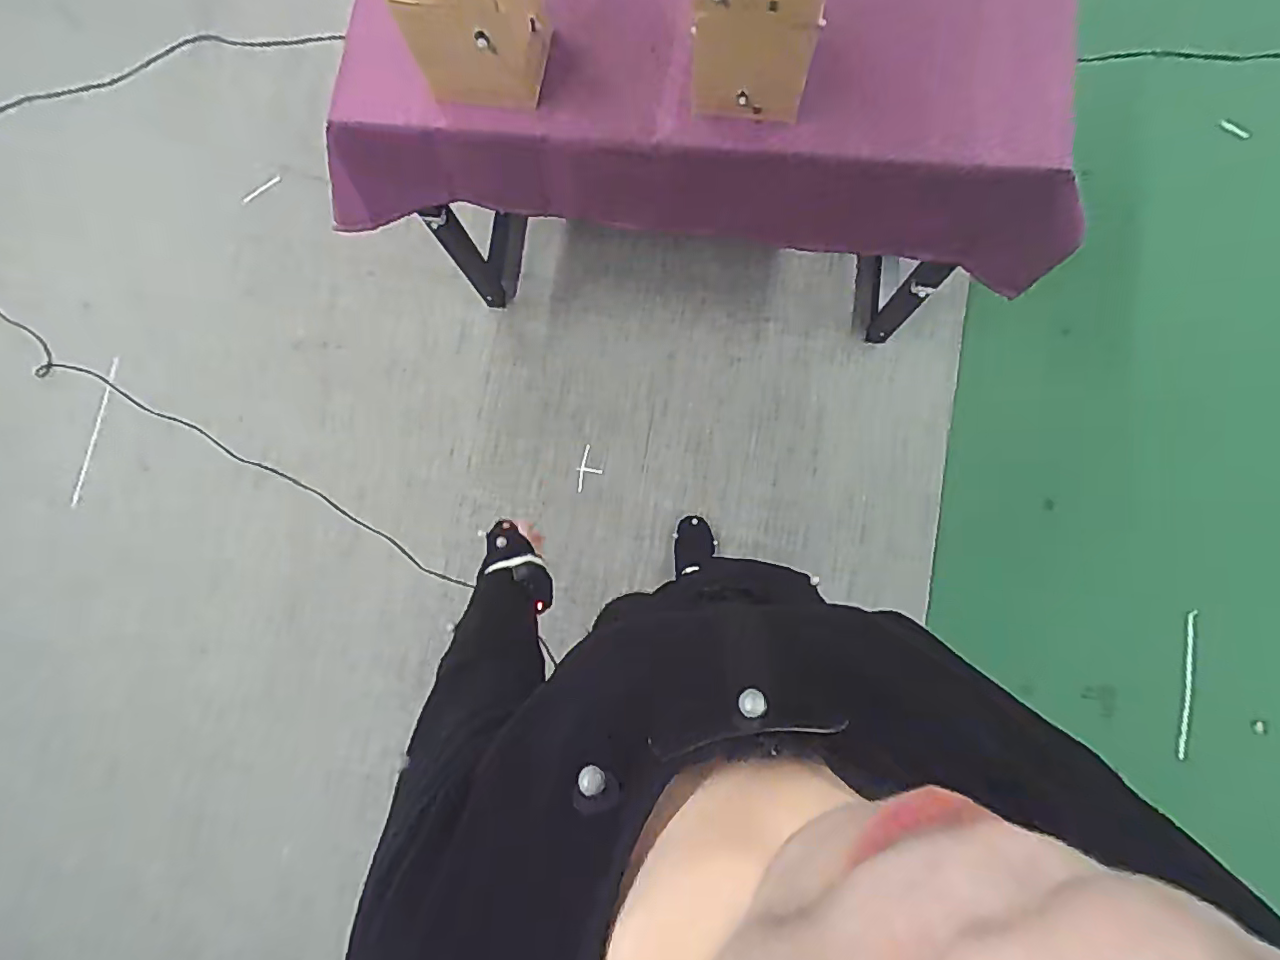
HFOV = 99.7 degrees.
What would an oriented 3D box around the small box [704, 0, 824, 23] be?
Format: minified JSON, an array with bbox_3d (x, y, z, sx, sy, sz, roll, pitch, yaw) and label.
[{"bbox_3d":[0.162,-0.695,0.640,0.168,0.176,0.179,12,82,6],"label":"small box"}]

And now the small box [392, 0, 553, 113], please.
[{"bbox_3d":[-0.246,-0.712,0.841,0.179,0.176,0.168,9,82,5],"label":"small box"}]

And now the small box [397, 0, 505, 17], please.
[{"bbox_3d":[-0.259,-0.745,0.681,0.168,0.176,0.179,10,83,5],"label":"small box"}]
